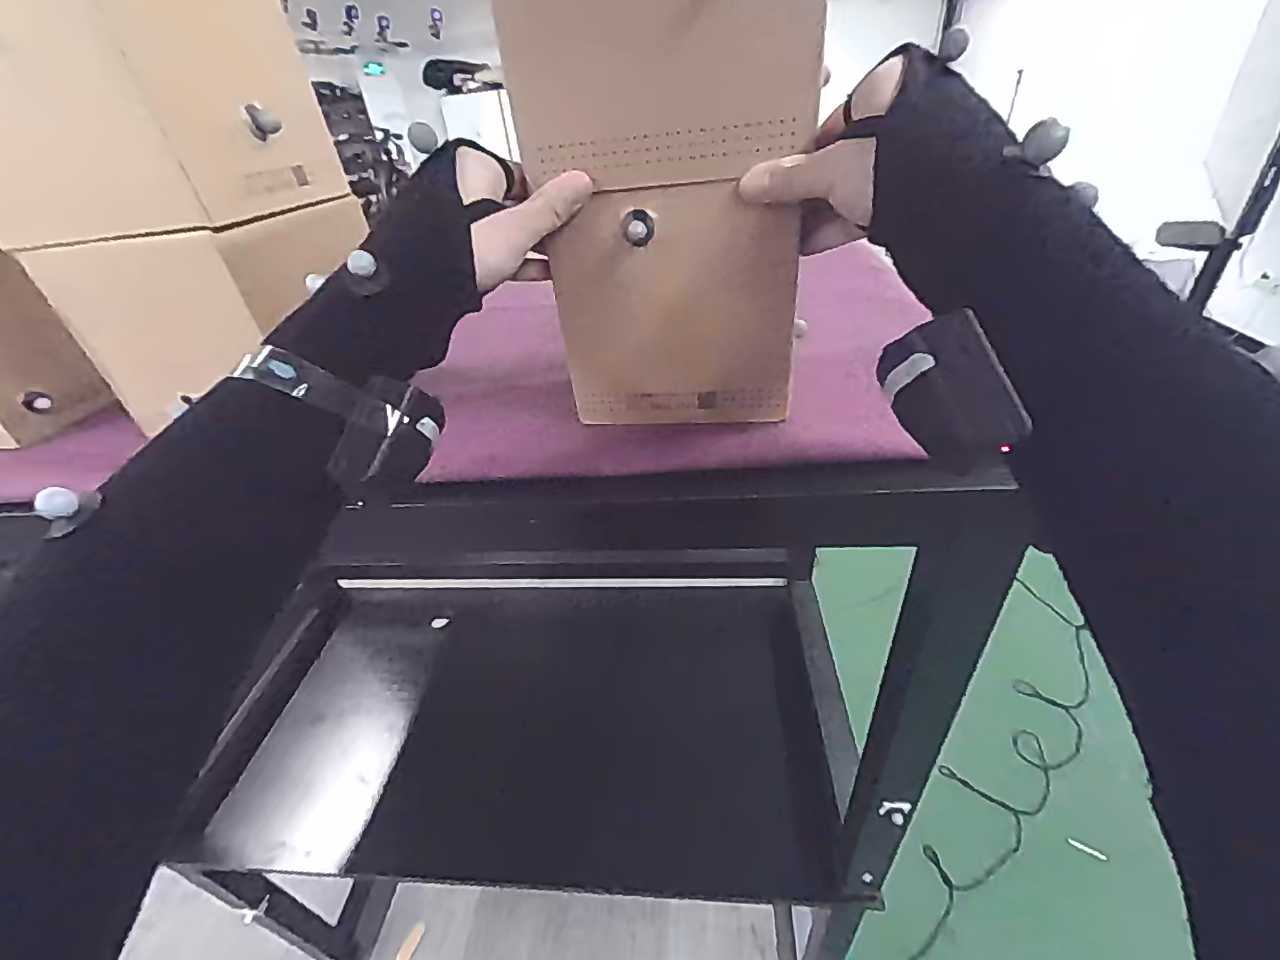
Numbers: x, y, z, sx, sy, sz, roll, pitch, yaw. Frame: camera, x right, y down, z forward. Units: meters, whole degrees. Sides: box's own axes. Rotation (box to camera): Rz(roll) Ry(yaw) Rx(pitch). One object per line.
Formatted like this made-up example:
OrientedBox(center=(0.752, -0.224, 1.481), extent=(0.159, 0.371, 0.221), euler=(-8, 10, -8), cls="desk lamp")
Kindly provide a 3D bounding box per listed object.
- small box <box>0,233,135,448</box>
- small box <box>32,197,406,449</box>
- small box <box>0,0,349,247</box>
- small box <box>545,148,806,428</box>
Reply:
OrientedBox(center=(-0.643, -0.138, 0.529), extent=(0.179, 0.176, 0.168), euler=(-2, 35, 8), cls="small box")
OrientedBox(center=(-0.338, -0.142, 0.486), extent=(0.168, 0.176, 0.179), euler=(-1, 35, 10), cls="small box")
OrientedBox(center=(-0.359, -0.274, 0.390), extent=(0.179, 0.176, 0.168), euler=(-2, 35, 10), cls="small box")
OrientedBox(center=(0.039, -0.158, 0.441), extent=(0.168, 0.176, 0.179), euler=(0, 37, 12), cls="small box")
